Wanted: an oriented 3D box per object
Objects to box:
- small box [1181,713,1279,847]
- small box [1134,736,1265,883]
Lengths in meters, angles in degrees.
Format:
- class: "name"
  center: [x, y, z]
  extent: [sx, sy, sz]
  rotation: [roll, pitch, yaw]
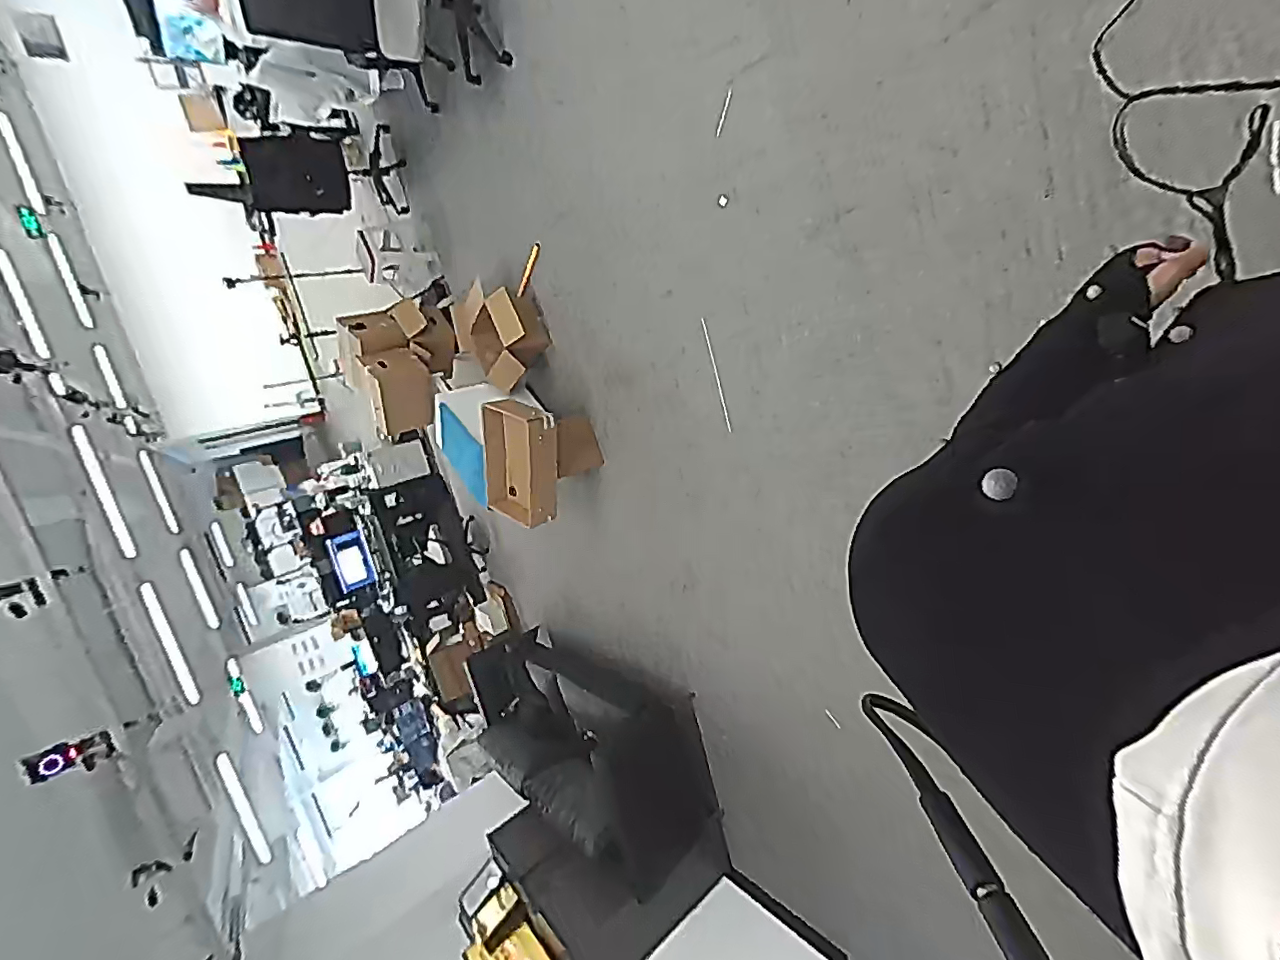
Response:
- class: "small box"
  center: [1.361, 0.676, 1.246]
  extent: [0.168, 0.176, 0.179]
  rotation: [8, 114, 52]
- class: "small box"
  center: [1.211, 0.699, 1.172]
  extent: [0.168, 0.176, 0.179]
  rotation: [14, 120, 51]
